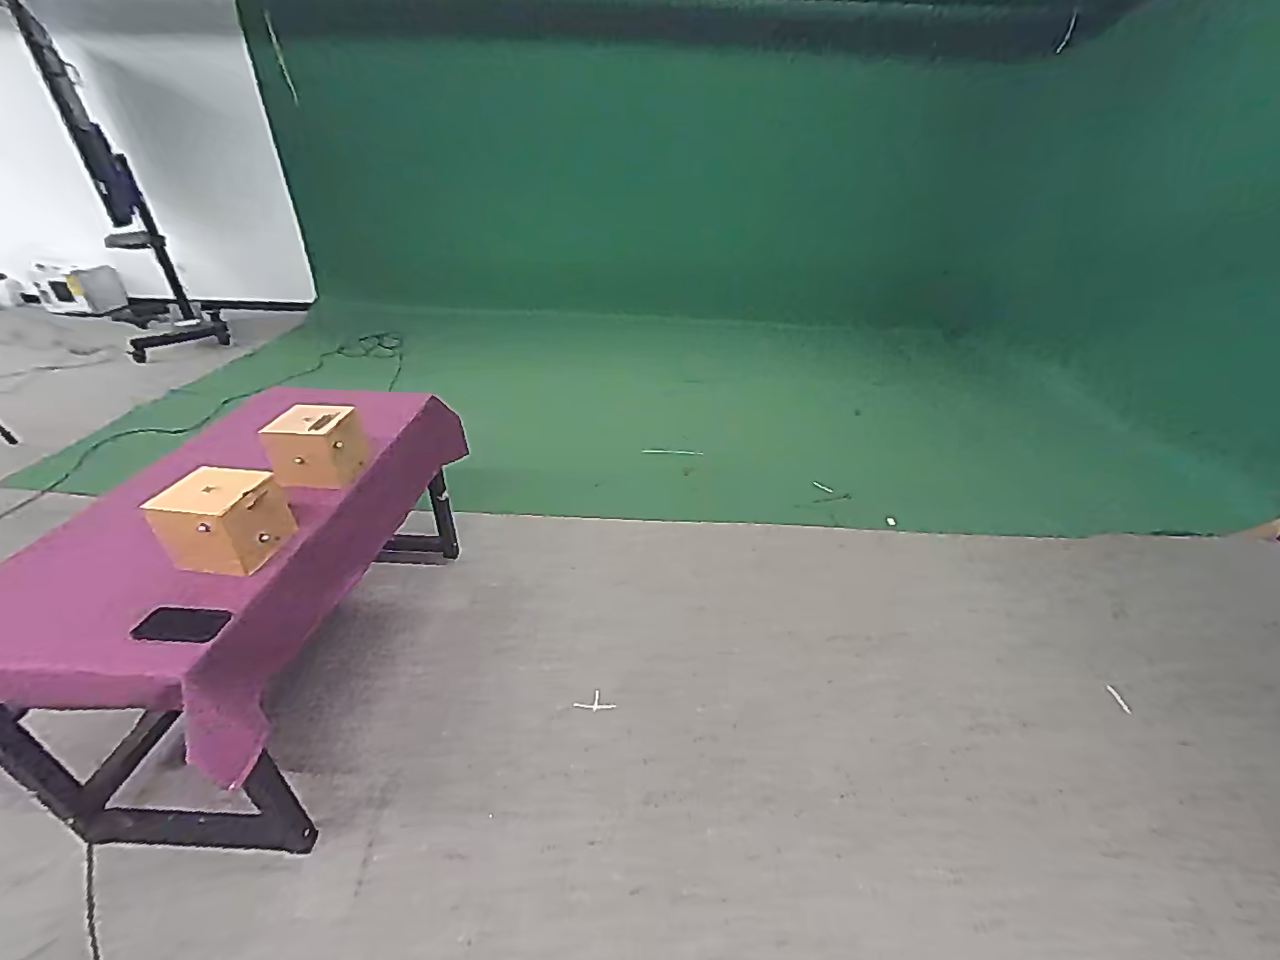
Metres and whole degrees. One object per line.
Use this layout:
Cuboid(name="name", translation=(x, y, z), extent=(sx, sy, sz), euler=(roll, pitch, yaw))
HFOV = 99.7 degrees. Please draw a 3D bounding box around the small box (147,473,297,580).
Cuboid(name="small box", translation=(-0.909, 0.102, 1.196), extent=(0.179, 0.176, 0.168), euler=(5, 32, 5))
